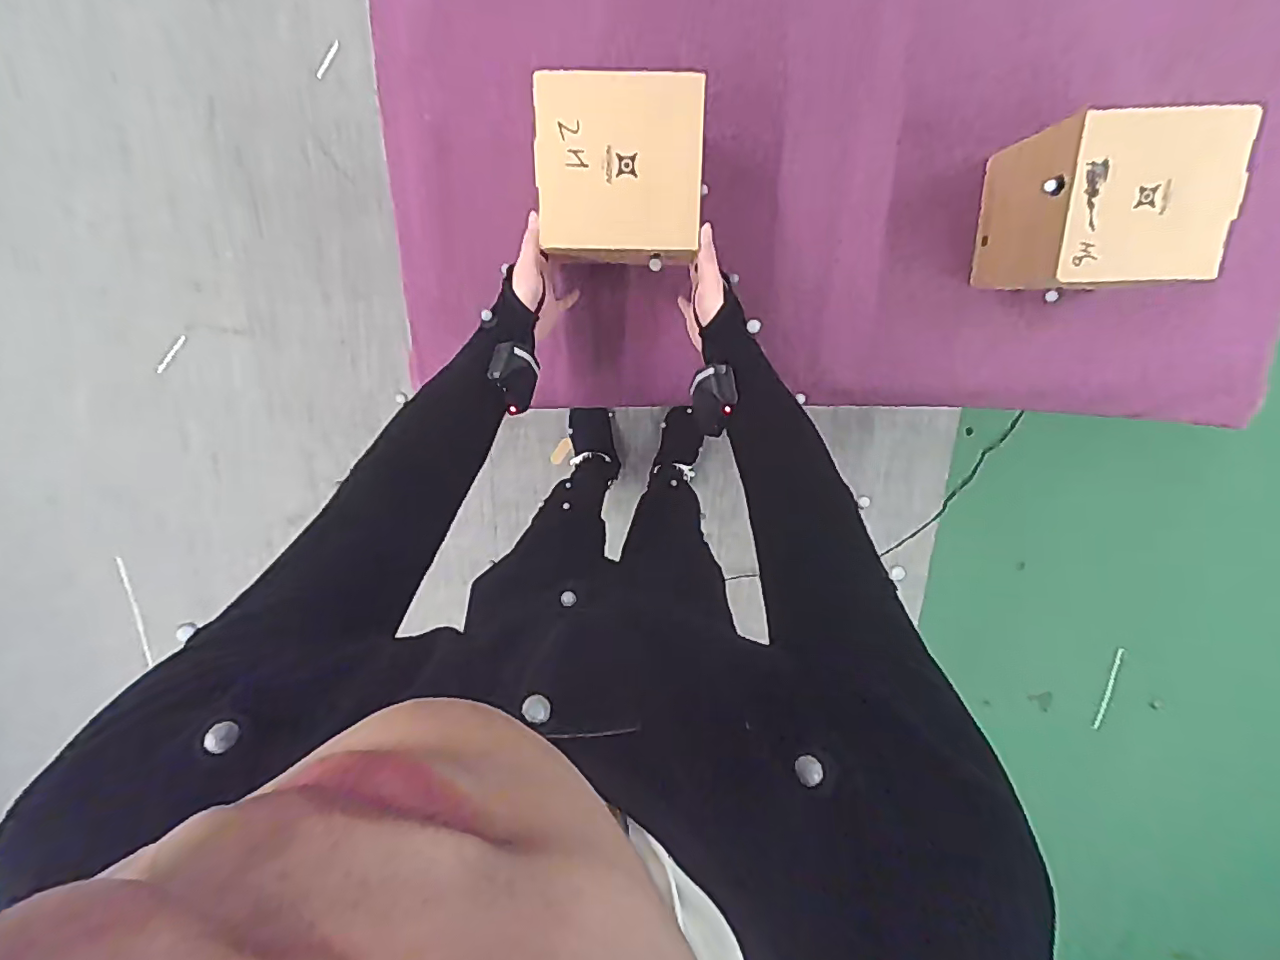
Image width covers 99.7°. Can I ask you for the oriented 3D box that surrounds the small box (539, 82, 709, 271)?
[{"bbox_3d":[-0.016,-0.347,0.647,0.179,0.176,0.168,1,107,2],"label":"small box"}]

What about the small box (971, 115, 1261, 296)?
[{"bbox_3d":[0.537,-0.311,0.641,0.179,0.176,0.168,0,106,2],"label":"small box"}]
